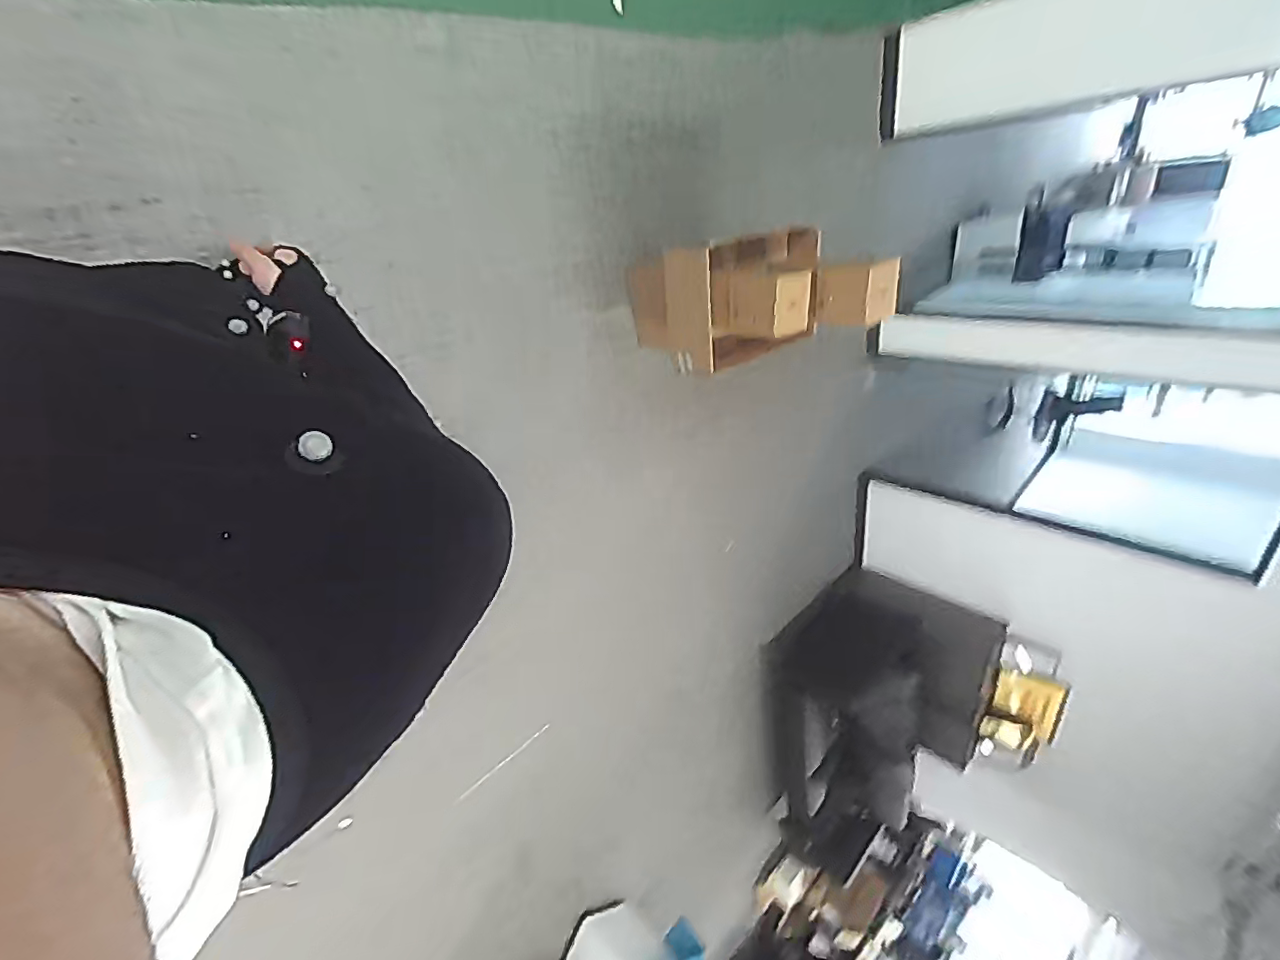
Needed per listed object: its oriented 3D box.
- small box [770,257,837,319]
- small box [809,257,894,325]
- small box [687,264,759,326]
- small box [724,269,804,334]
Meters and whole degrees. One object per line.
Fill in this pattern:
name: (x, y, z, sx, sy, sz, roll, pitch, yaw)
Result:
small box: (0.539, -0.631, 1.760, 0.179, 0.176, 0.168, -25, 123, -33)
small box: (0.637, -0.578, 1.637, 0.179, 0.176, 0.168, -26, 123, -33)
small box: (0.261, -0.592, 1.728, 0.179, 0.176, 0.168, -27, 124, -37)
small box: (0.367, -0.537, 1.617, 0.179, 0.176, 0.168, -24, 123, -38)
